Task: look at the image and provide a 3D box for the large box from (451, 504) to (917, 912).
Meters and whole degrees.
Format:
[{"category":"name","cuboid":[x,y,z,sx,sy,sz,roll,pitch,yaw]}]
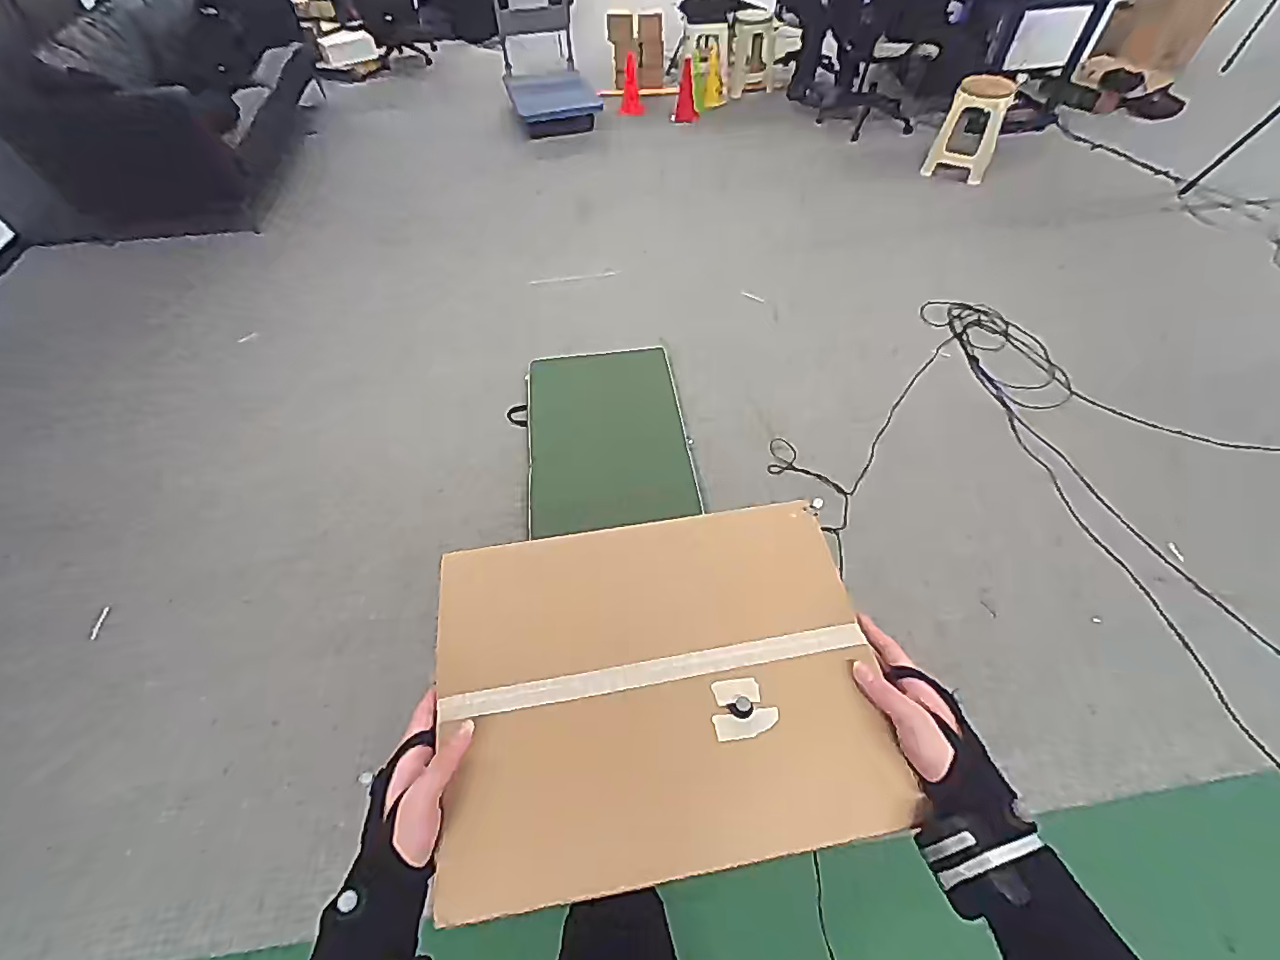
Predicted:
[{"category":"large box","cuboid":[0.017,0.265,0.645,0.408,0.320,0.320,-8,57,-6]}]
